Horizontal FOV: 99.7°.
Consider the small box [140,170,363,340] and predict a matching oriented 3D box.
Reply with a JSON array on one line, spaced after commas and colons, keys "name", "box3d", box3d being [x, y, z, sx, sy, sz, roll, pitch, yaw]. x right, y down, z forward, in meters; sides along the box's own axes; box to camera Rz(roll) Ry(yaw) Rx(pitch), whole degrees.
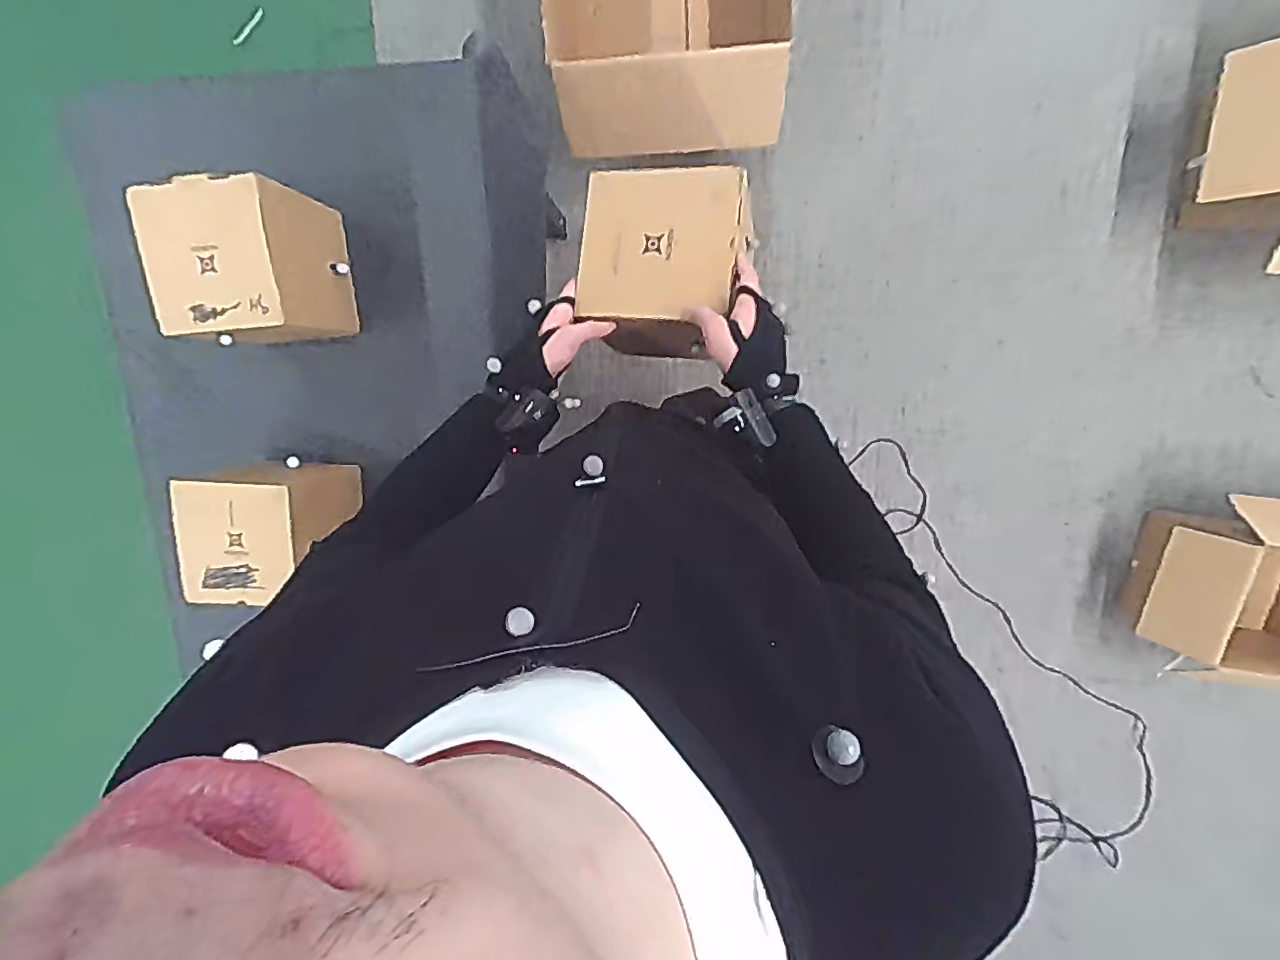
[{"name": "small box", "box3d": [-0.515, -0.294, 0.745, 0.168, 0.176, 0.179, -6, 101, 3]}]

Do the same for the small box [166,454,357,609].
[{"name": "small box", "box3d": [-0.540, 0.067, 0.795, 0.168, 0.176, 0.179, 6, 101, 1]}]

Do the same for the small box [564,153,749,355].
[{"name": "small box", "box3d": [0.031, -0.252, 0.638, 0.179, 0.176, 0.168, 6, 88, 16]}]
